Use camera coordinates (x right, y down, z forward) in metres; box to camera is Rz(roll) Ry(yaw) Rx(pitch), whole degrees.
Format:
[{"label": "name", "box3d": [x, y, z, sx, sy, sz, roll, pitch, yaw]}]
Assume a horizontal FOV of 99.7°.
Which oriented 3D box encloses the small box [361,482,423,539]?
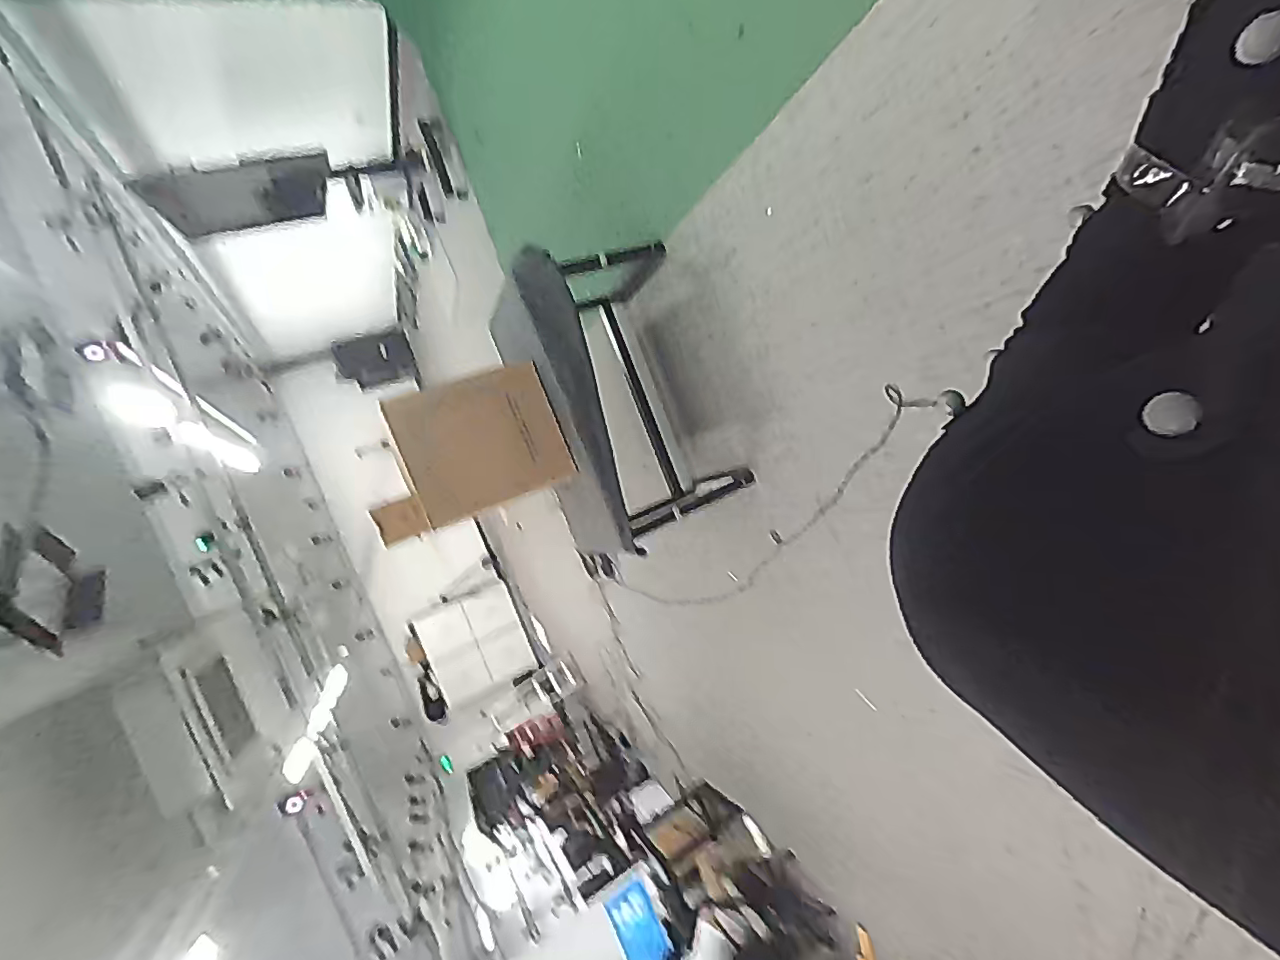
[{"label": "small box", "box3d": [-0.947, 0.116, 2.069, 0.179, 0.176, 0.168, -16, 97, 63]}]
